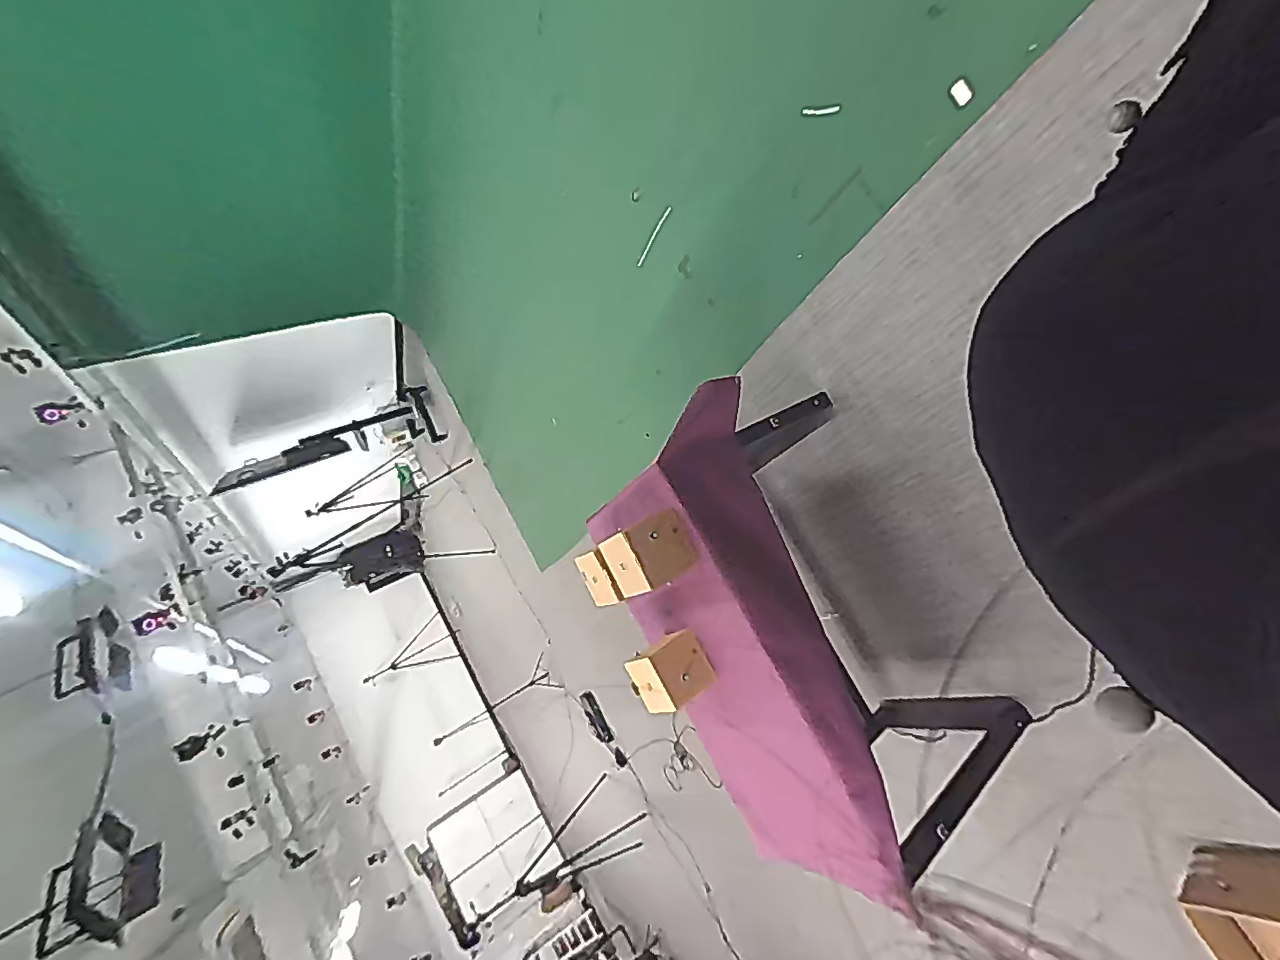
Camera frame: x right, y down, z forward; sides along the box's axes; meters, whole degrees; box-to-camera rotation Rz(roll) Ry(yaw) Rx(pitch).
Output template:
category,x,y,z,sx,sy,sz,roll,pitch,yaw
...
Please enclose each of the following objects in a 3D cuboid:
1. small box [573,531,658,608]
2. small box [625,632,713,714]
category,x,y,z,sx,sy,sz,roll,pitch,yaw
small box,-0.068,0.267,1.624,0.179,0.176,0.168,-31,84,58
small box,0.091,0.567,1.596,0.168,0.176,0.179,60,149,9
